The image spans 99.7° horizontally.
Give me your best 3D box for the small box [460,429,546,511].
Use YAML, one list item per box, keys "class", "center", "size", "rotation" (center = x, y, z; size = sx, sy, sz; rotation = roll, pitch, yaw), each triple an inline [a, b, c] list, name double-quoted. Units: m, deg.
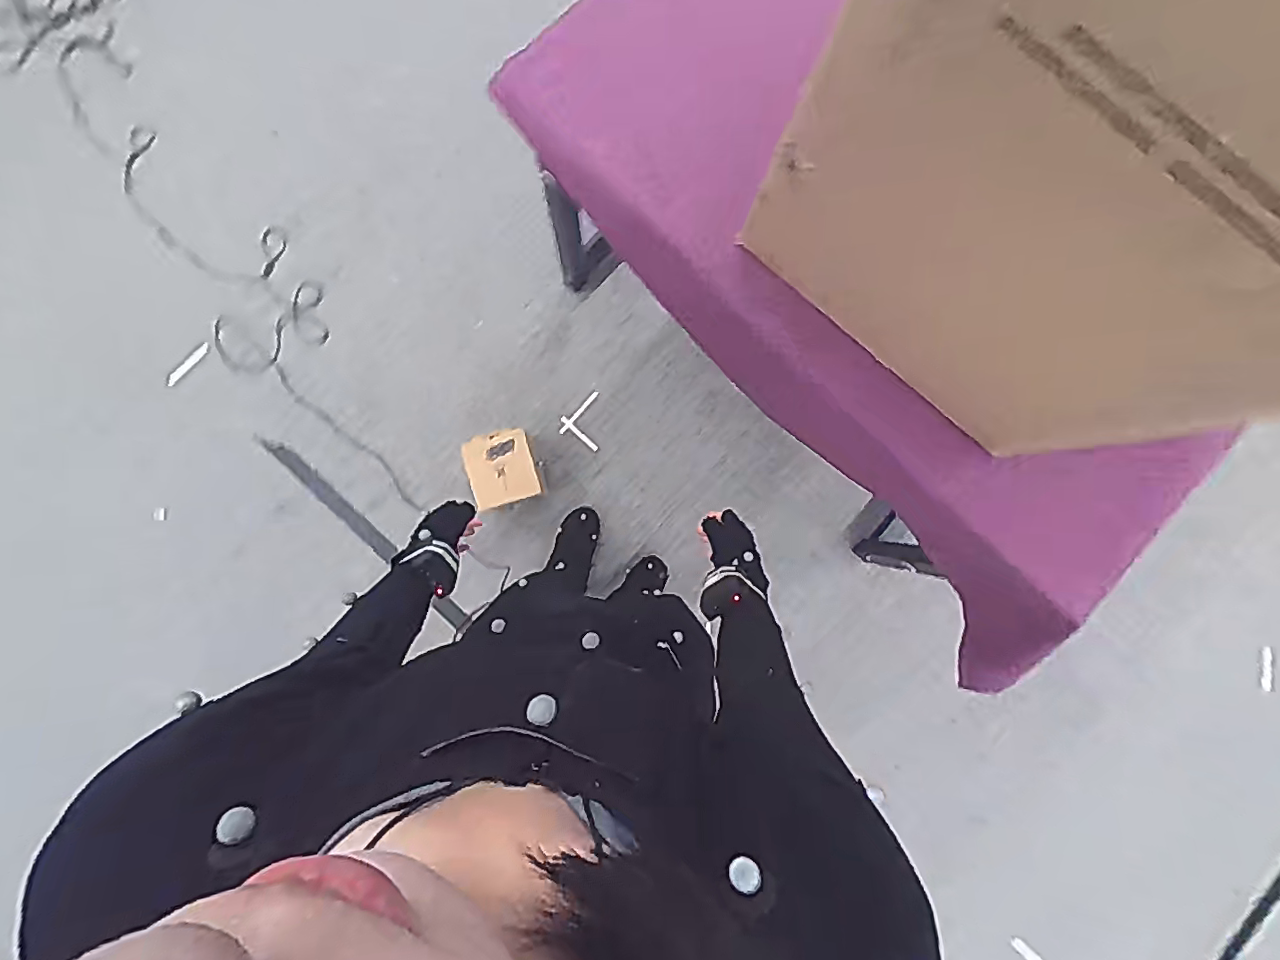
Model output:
- class: "small box"
  center: [-0.355, -0.021, 1.426]
  size: [0.168, 0.176, 0.179]
  rotation: [-17, 89, -4]
